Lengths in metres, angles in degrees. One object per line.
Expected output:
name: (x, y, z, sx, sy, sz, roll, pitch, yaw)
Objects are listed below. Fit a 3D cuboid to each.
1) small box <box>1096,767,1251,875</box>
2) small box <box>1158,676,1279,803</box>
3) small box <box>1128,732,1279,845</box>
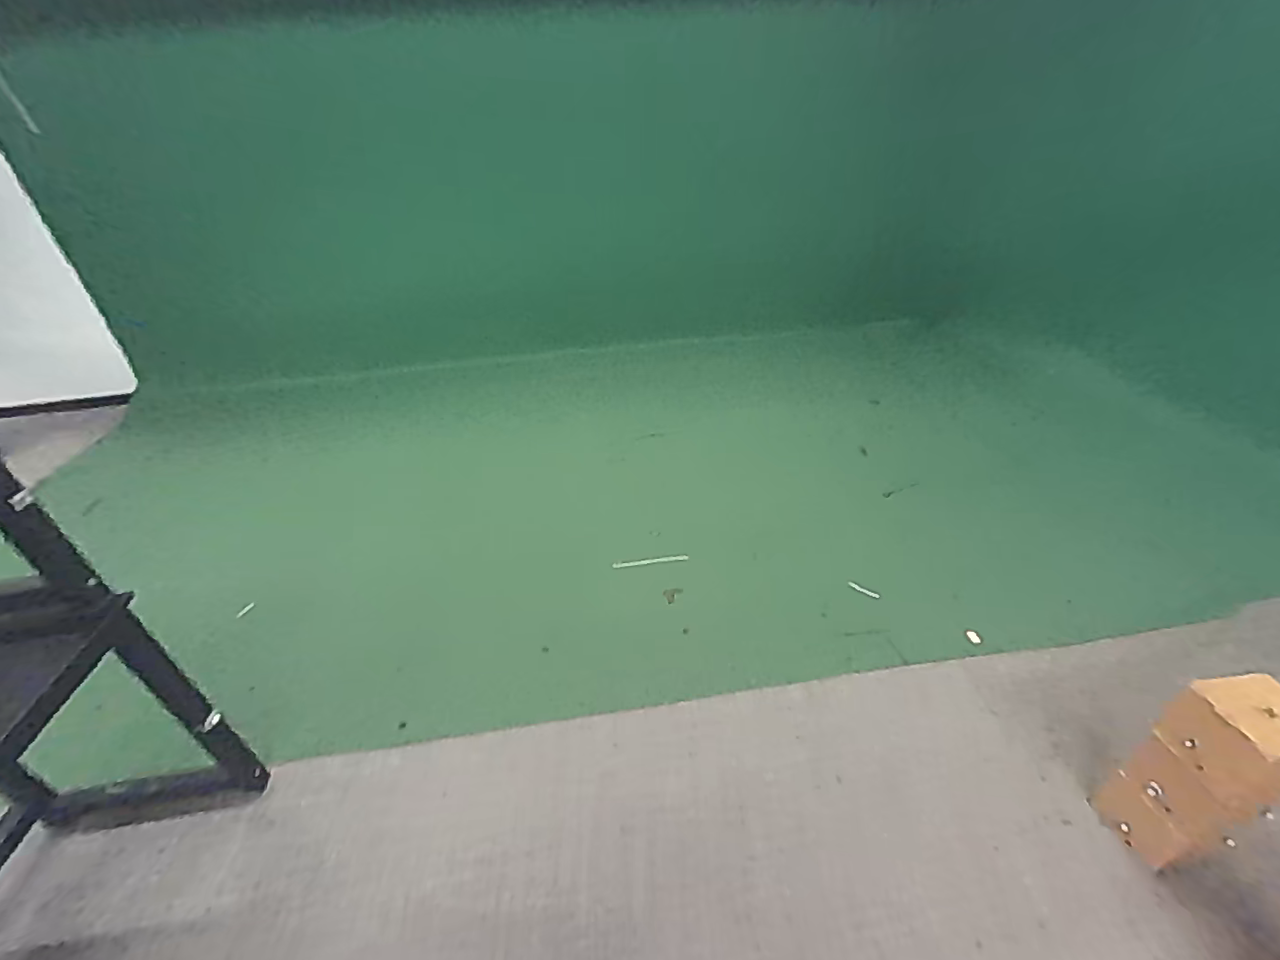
small box: (1.240, 0.789, 1.272, 0.179, 0.176, 0.168, -9, 33, -8)
small box: (1.224, 0.521, 1.089, 0.179, 0.176, 0.168, -5, 33, -2)
small box: (1.236, 0.656, 1.179, 0.179, 0.176, 0.168, -9, 33, -8)
